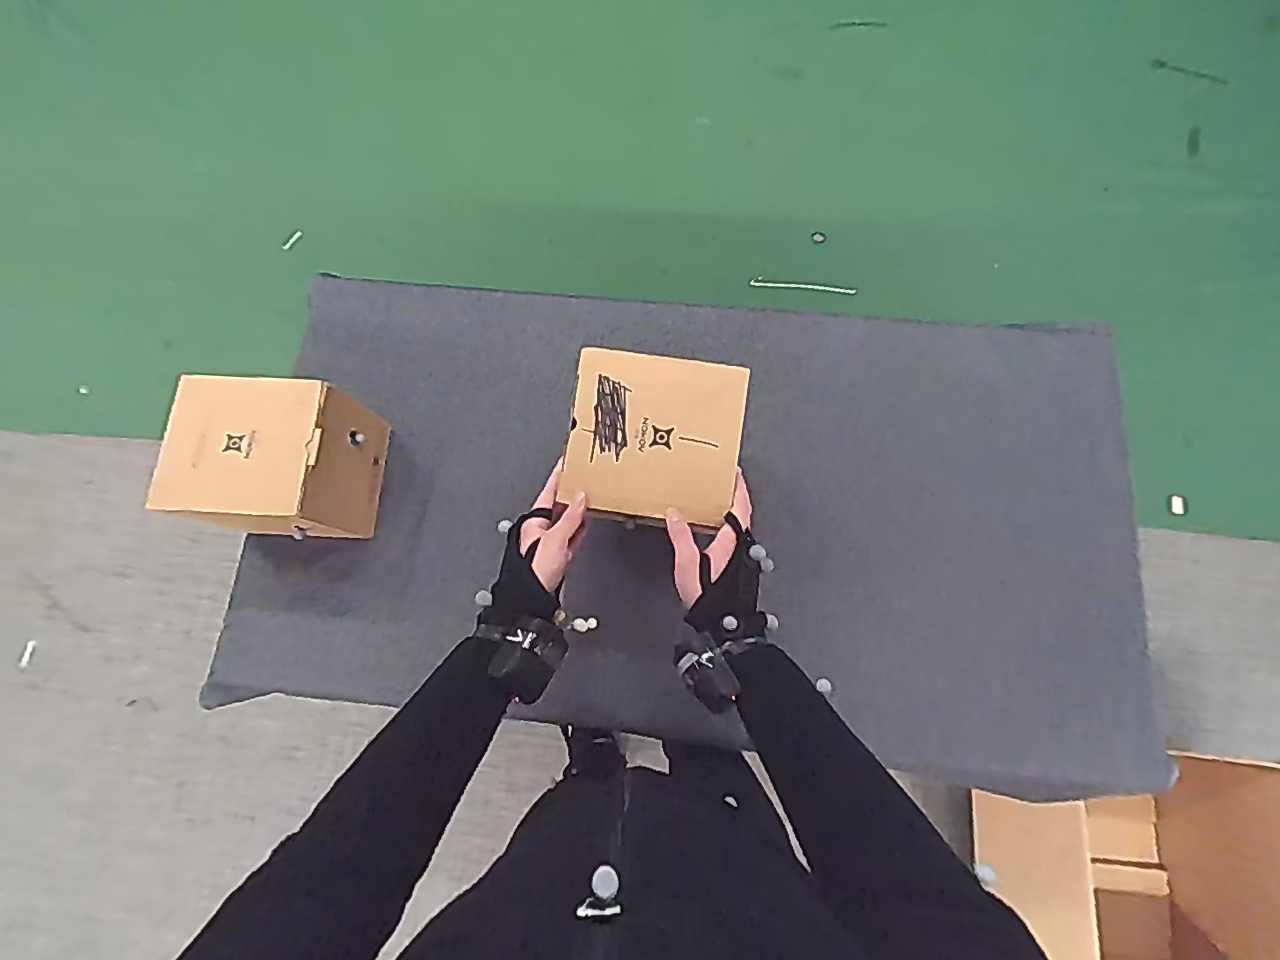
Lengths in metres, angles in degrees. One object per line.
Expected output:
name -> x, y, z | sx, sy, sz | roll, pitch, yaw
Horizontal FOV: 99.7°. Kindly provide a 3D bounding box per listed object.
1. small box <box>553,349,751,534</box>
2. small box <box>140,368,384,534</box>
small box -> 0.018, -0.032, 0.625 | 0.179, 0.176, 0.168 | 12, 85, 5
small box -> -0.452, -0.027, 0.680 | 0.179, 0.176, 0.168 | 2, 75, 3
